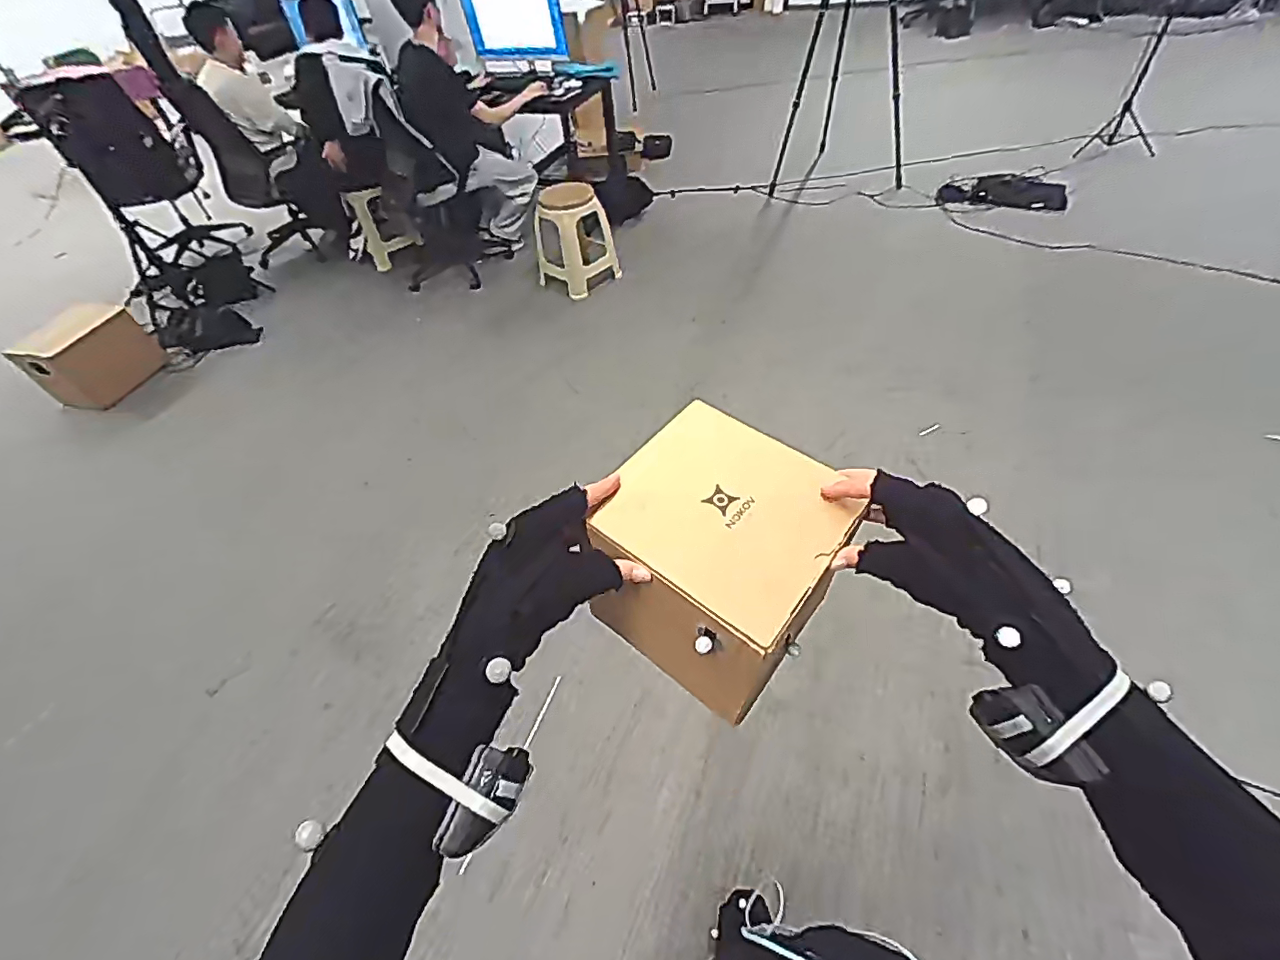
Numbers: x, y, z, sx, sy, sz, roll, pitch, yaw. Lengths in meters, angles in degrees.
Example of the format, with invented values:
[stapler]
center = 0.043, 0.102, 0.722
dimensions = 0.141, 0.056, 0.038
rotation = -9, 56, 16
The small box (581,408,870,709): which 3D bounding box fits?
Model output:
[small box]
center = 0.066, 0.073, 0.490
dimensions = 0.179, 0.176, 0.168
rotation = 34, 57, 23
